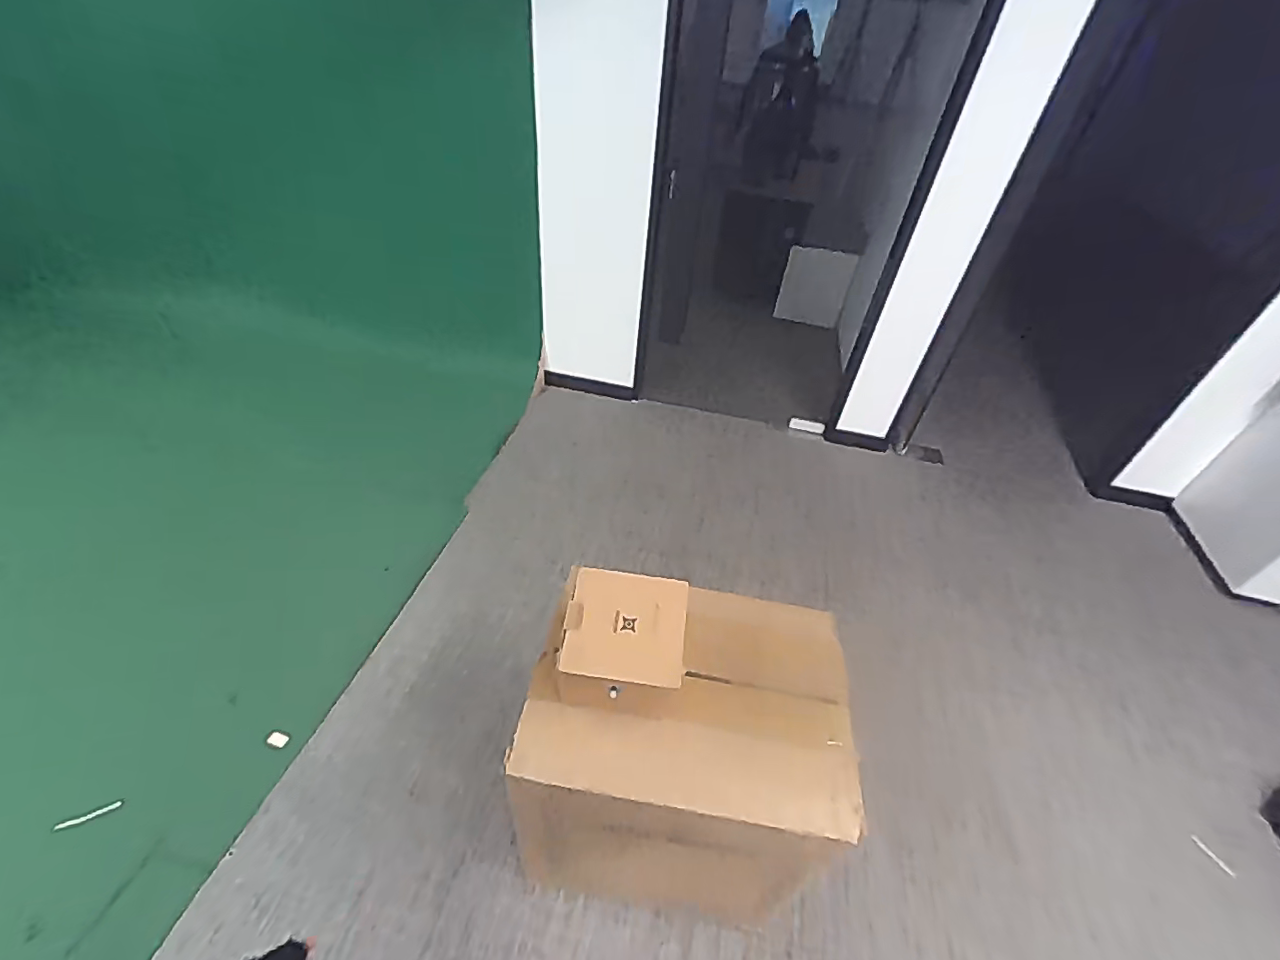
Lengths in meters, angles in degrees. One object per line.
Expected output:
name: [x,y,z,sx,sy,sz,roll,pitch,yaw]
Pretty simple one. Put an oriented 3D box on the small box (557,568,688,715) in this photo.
small box: [-0.027,0.261,0.860,0.179,0.176,0.168,8,53,1]
